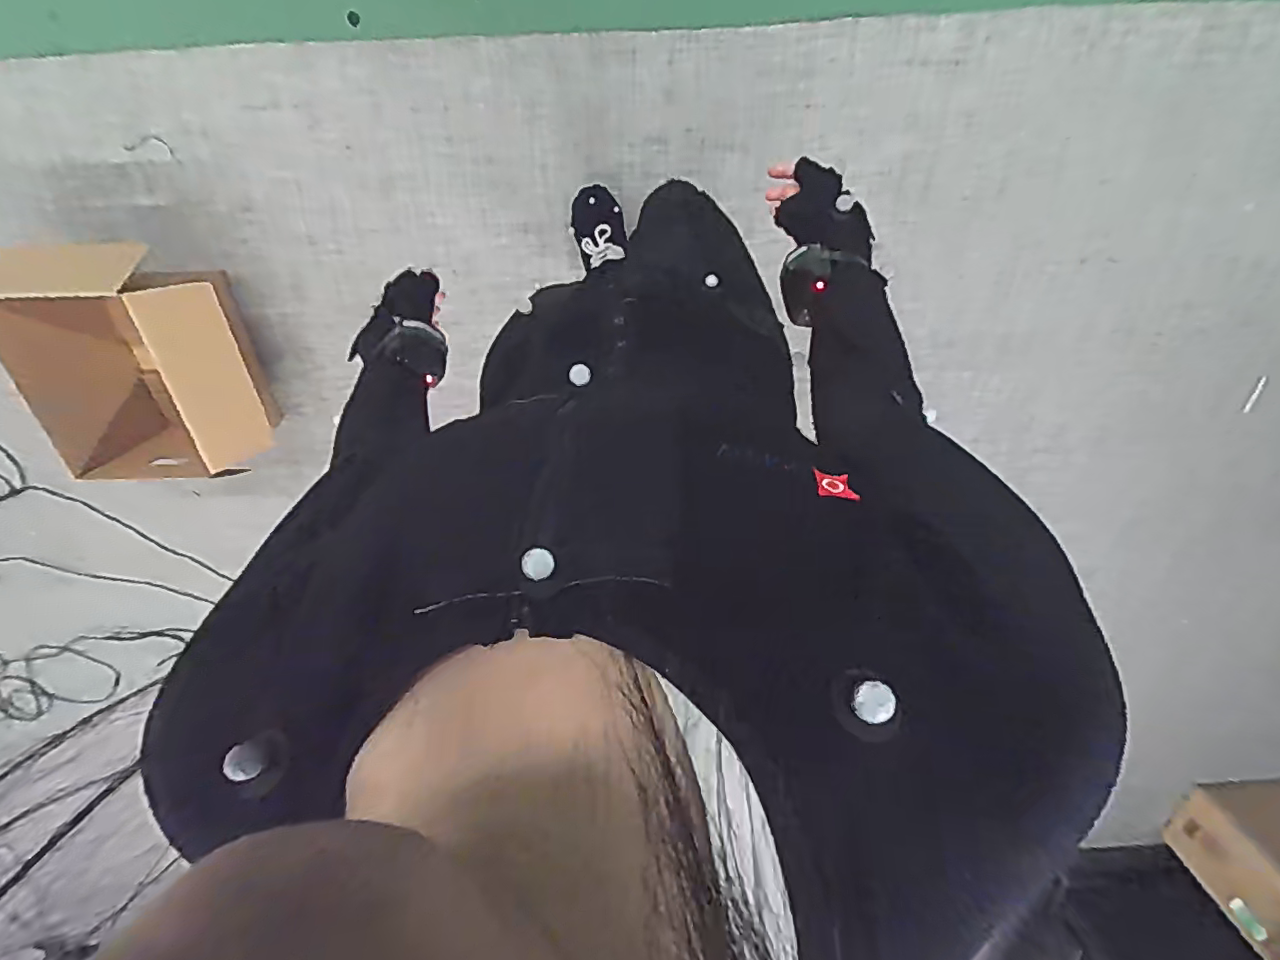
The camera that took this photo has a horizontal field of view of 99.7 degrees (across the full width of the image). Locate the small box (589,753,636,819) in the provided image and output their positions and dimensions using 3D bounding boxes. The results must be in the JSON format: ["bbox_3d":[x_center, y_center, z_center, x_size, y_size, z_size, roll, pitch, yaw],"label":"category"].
[{"bbox_3d":[-0.109,1.239,2.193,0.179,0.176,0.168,-5,119,0],"label":"small box"}]
